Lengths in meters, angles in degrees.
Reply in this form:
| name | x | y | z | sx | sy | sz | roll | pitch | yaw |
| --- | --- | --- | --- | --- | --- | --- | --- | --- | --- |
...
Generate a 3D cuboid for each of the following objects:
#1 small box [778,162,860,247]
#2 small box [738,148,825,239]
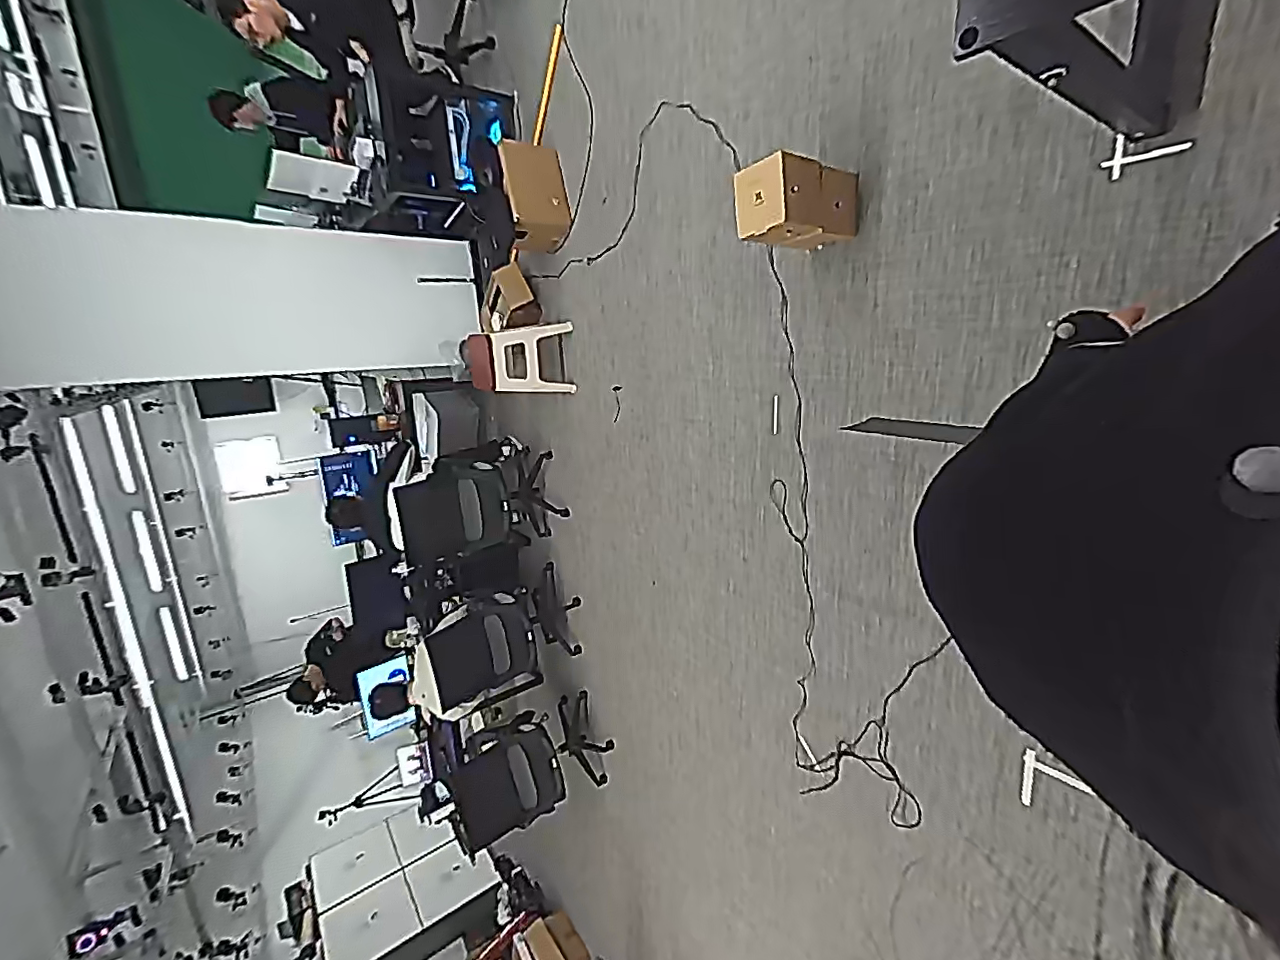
| name | x | y | z | sx | sy | sz | roll | pitch | yaw |
| --- | --- | --- | --- | --- | --- | --- | --- | --- | --- |
| small box | 0.520 | -0.793 | 1.573 | 0.168 | 0.176 | 0.179 | 12 | 110 | 53 |
| small box | 0.388 | -0.771 | 1.480 | 0.168 | 0.176 | 0.179 | 6 | 104 | 53 |
